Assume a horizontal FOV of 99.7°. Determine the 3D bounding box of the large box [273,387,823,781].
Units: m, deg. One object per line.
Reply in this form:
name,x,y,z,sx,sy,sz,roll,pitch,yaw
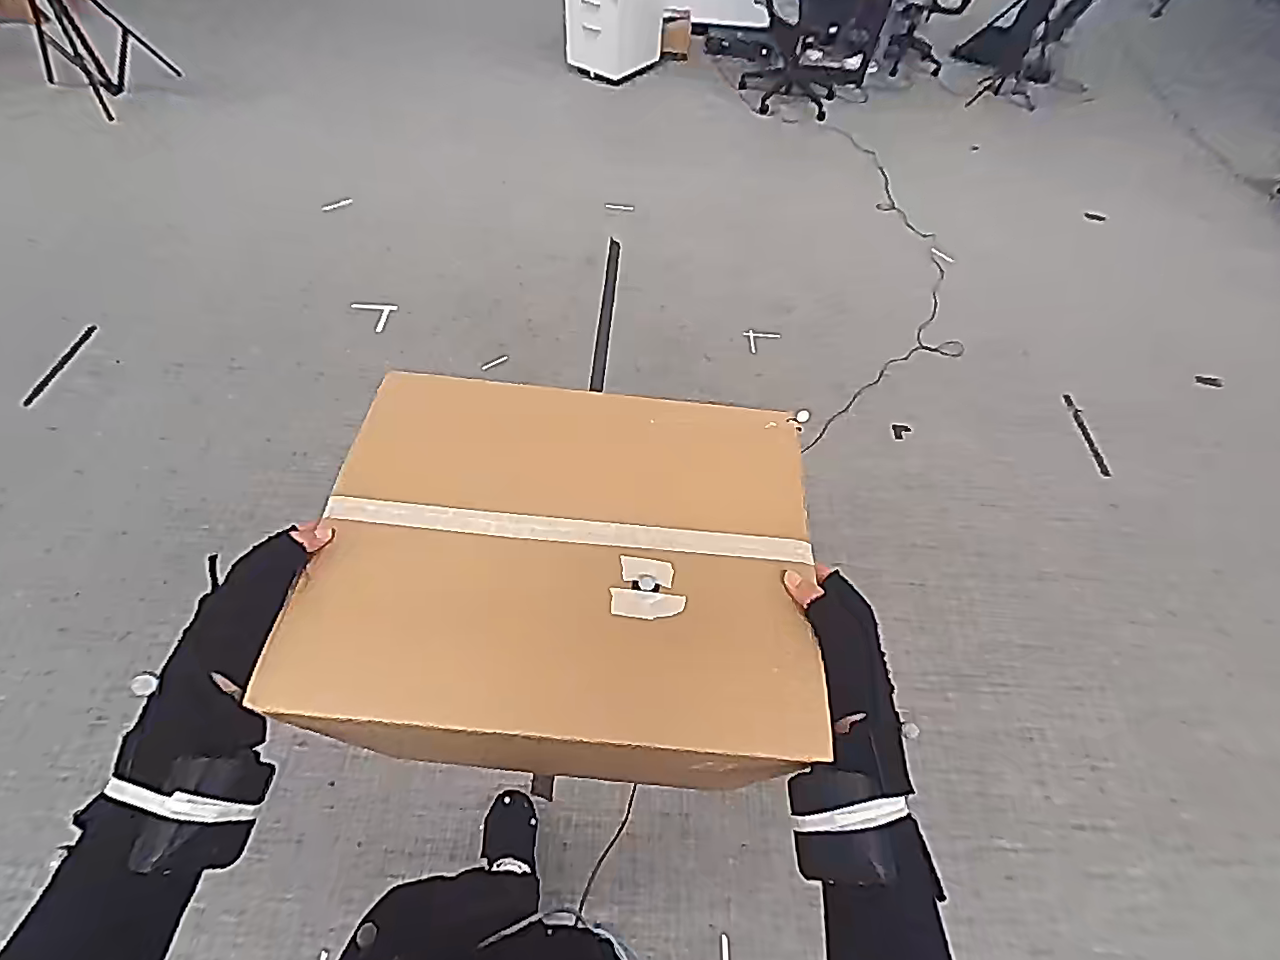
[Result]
large box,-0.067,0.131,0.590,0.408,0.320,0.320,6,58,-2
